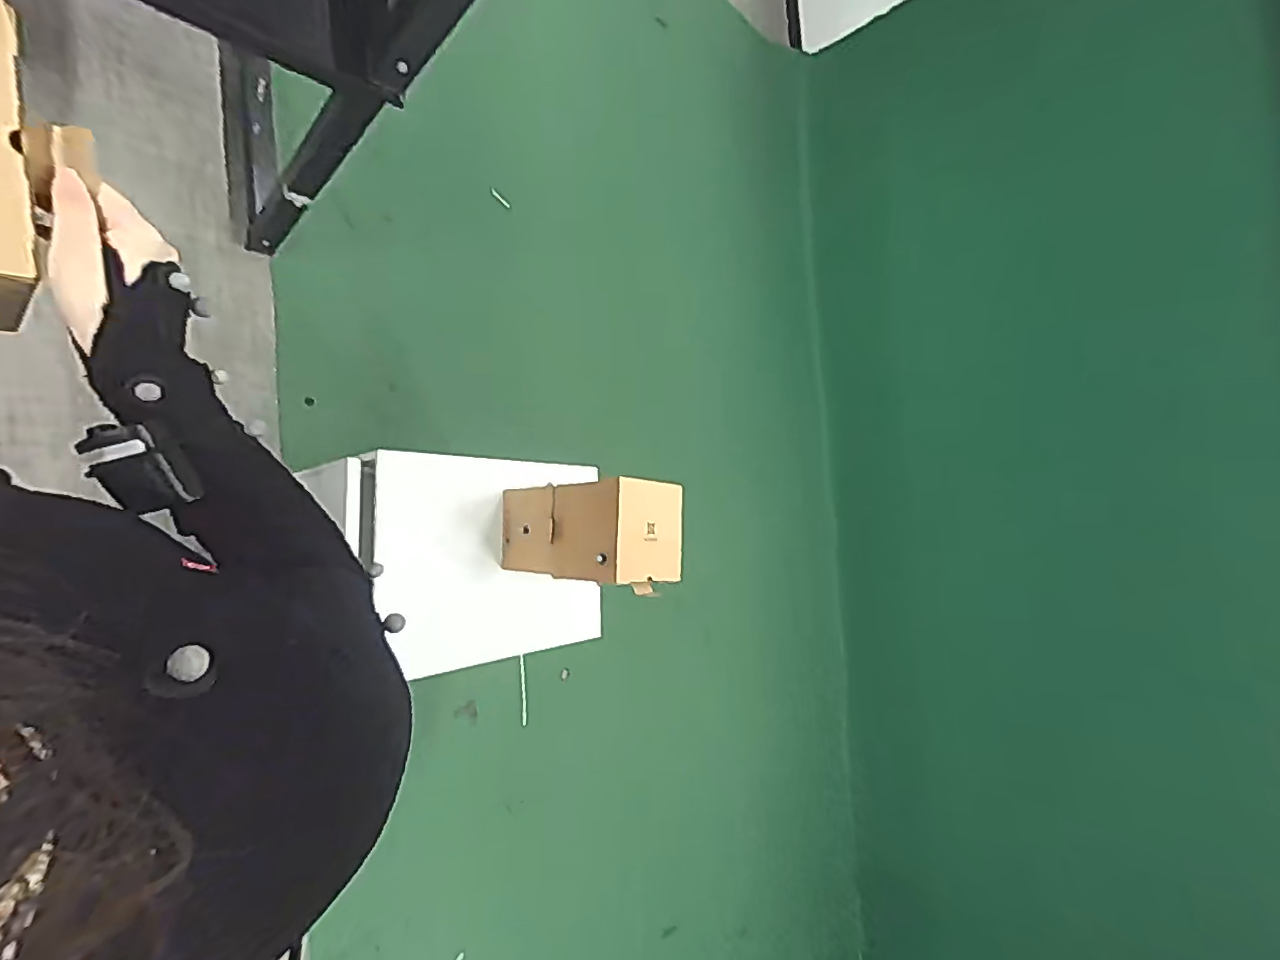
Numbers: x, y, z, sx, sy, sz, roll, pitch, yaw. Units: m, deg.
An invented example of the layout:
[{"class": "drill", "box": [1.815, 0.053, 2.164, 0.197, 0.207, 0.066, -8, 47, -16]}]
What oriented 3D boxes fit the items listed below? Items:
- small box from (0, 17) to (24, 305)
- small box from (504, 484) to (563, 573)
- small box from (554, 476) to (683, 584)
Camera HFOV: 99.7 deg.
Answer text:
[{"class": "small box", "box": [-0.479, -0.196, 0.293, 0.179, 0.176, 0.168, -7, 96, -52]}, {"class": "small box", "box": [-0.157, 0.099, 1.087, 0.179, 0.176, 0.168, 5, 84, -46]}, {"class": "small box", "box": [-0.040, 0.092, 0.974, 0.168, 0.176, 0.179, 8, 81, -47]}]
